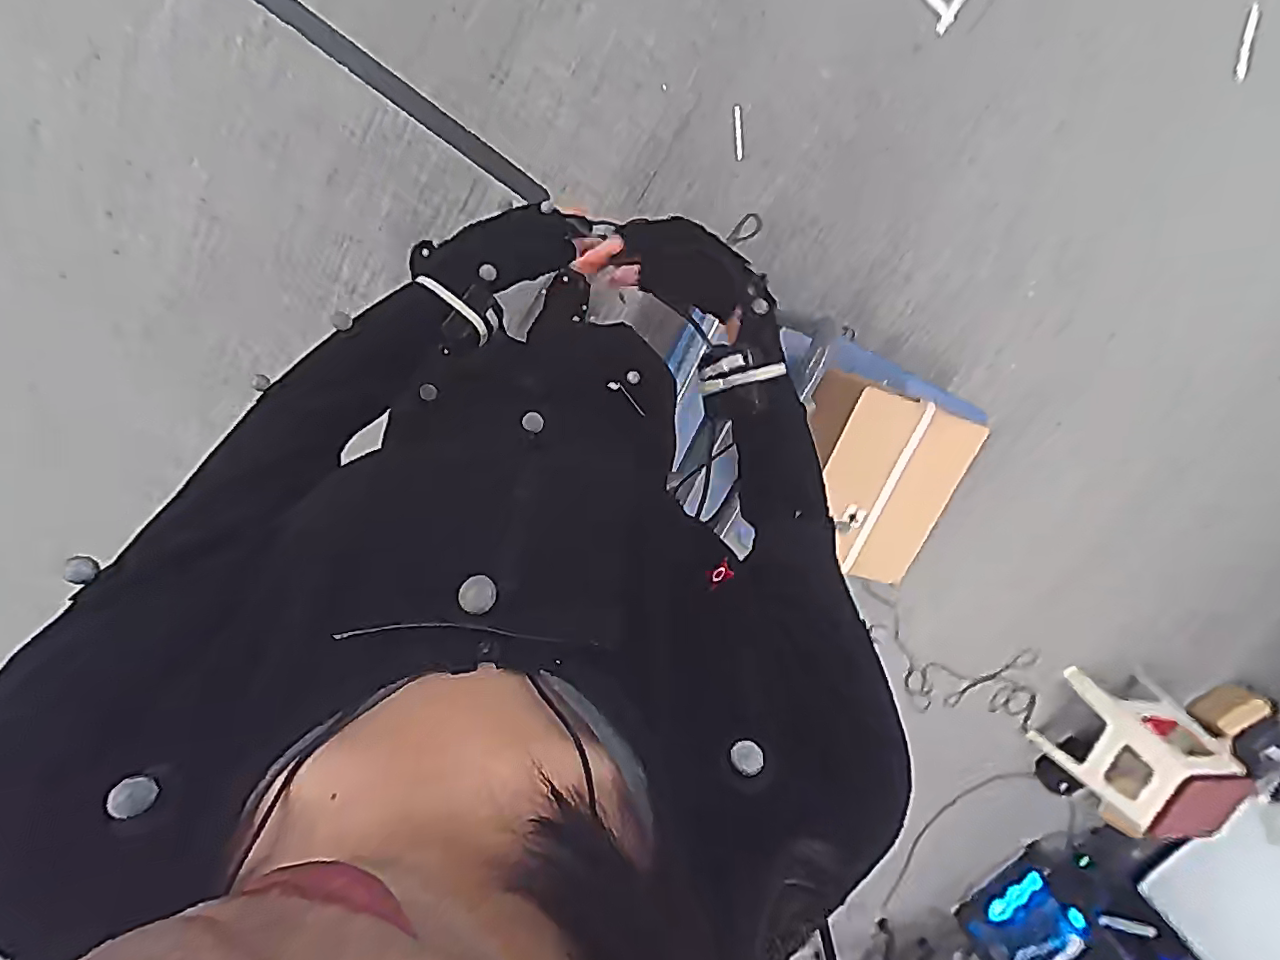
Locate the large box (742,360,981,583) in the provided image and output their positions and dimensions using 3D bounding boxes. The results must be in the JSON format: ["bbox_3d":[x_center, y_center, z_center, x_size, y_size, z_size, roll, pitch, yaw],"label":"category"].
[{"bbox_3d":[0.495,-0.030,1.296,0.320,0.320,0.408,16,110,-13],"label":"large box"}]
